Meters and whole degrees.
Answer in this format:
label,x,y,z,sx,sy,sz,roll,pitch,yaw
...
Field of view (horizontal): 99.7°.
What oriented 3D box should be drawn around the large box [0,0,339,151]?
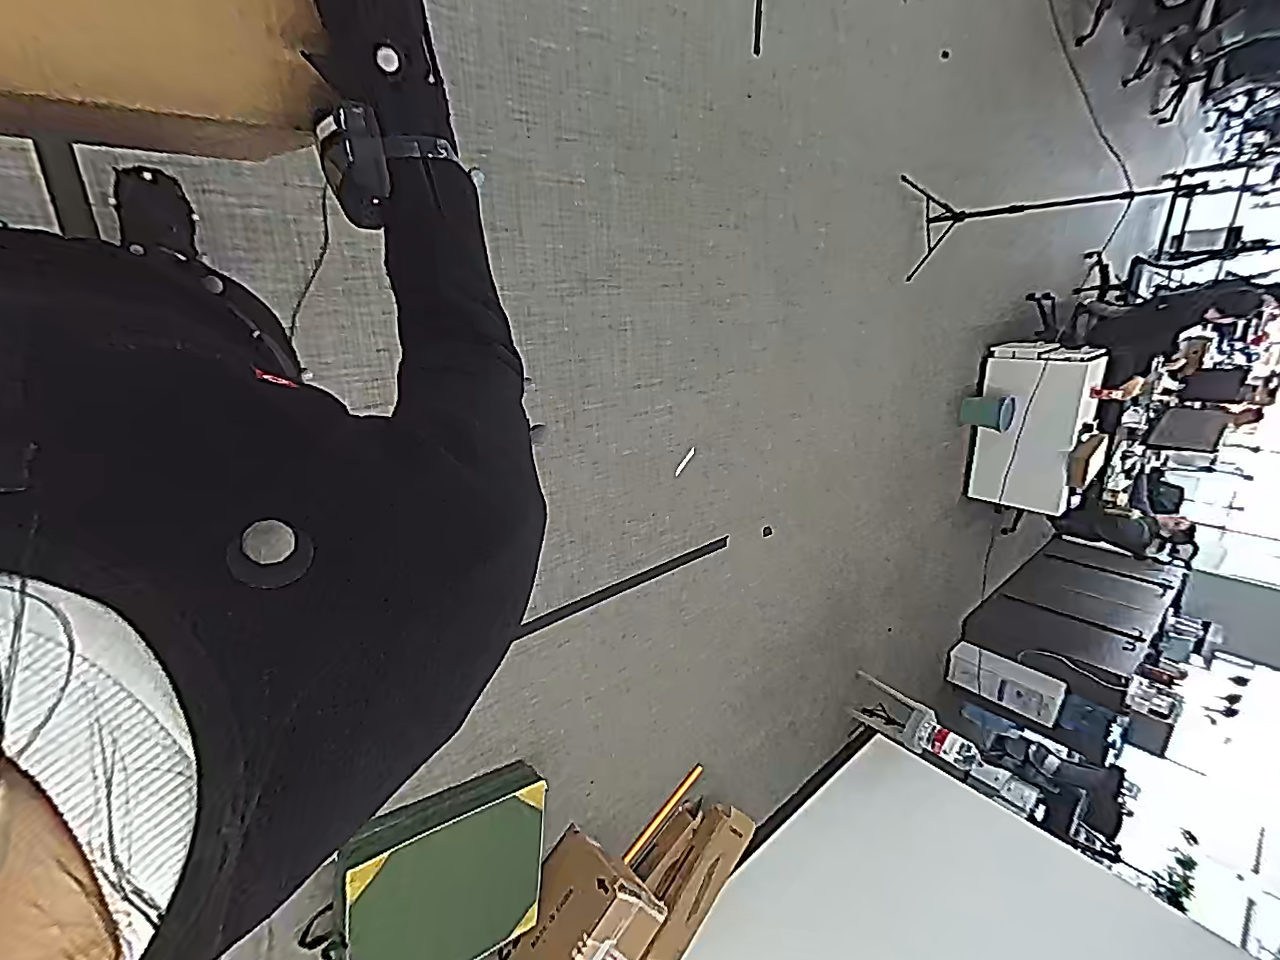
label,x,y,z,sx,sy,sz,roll,pitch,yaw
large box,-0.462,-0.397,0.311,0.408,0.320,0.320,-19,123,-39
